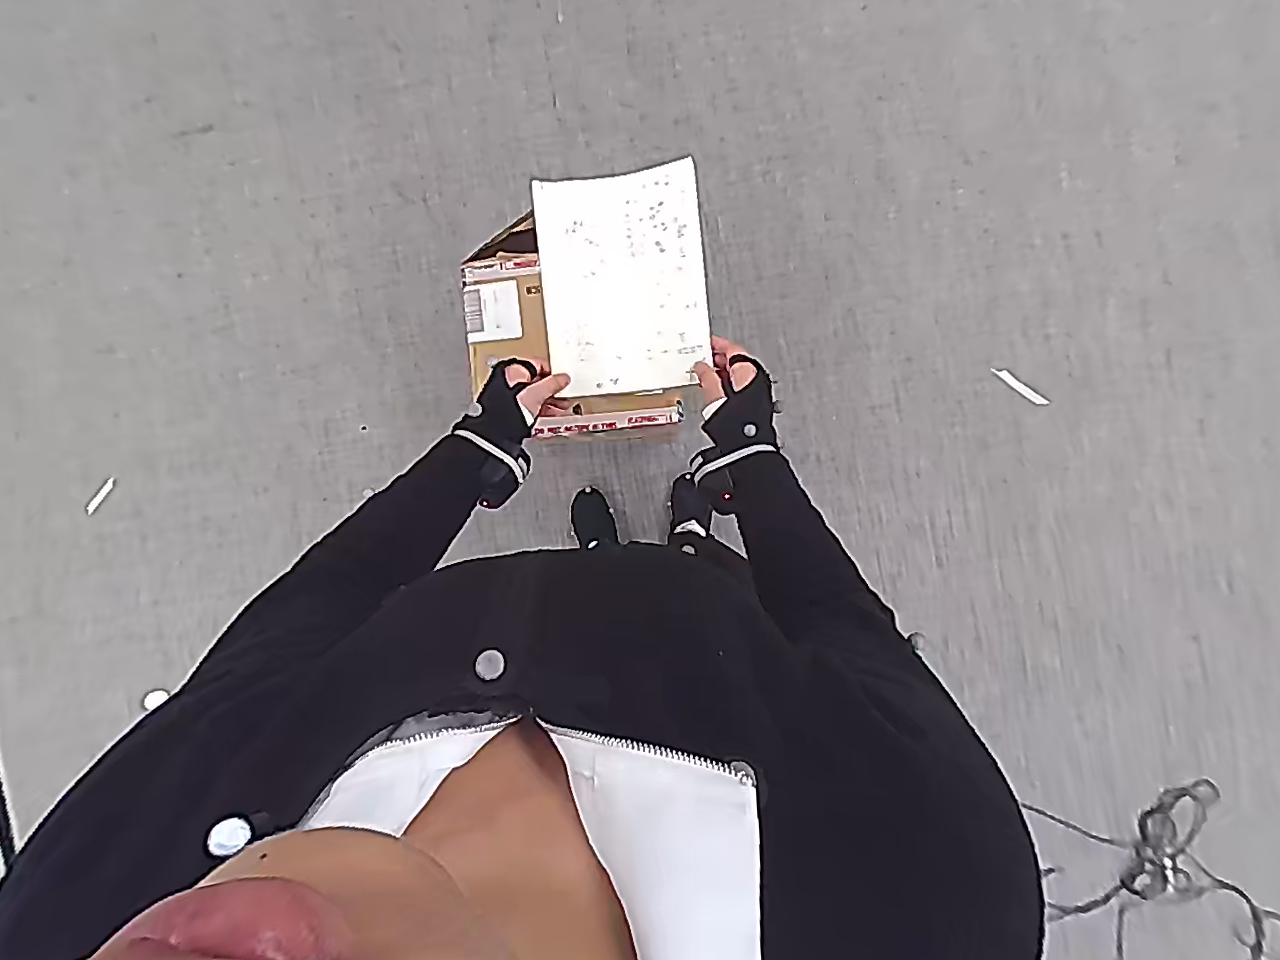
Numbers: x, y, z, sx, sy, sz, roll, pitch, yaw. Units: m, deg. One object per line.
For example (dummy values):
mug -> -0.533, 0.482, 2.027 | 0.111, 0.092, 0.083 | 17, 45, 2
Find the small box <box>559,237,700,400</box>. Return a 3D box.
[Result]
small box -> -0.013, -0.216, 0.769 | 0.168, 0.176, 0.179 | -8, 94, 2

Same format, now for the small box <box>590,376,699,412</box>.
small box -> -0.004, -0.216, 0.931 | 0.179, 0.176, 0.168 | -11, 92, 3
